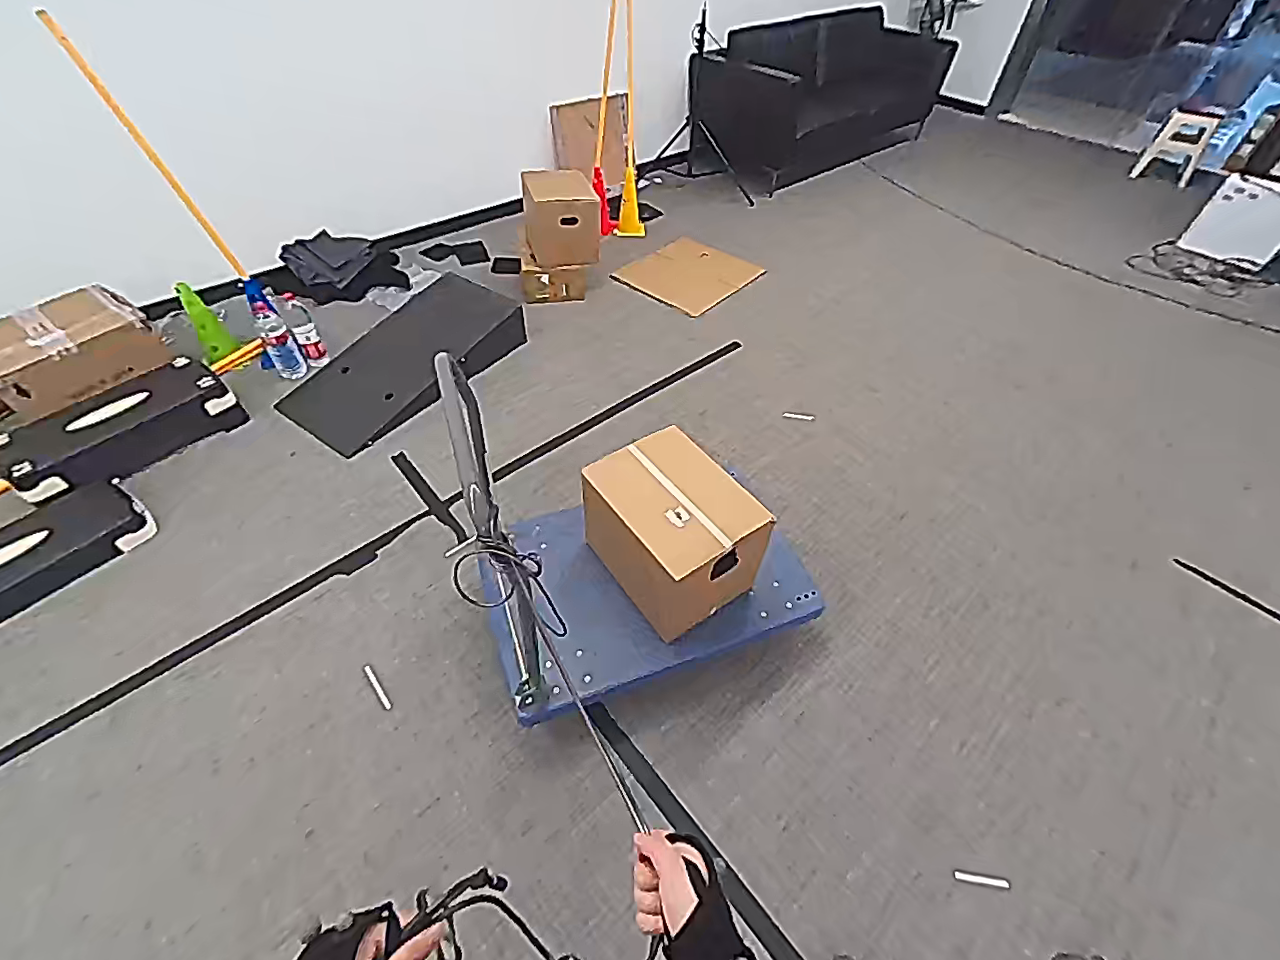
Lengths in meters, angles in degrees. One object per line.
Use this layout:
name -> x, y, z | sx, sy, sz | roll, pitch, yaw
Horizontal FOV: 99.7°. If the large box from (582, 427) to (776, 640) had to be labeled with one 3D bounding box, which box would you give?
large box -> 0.081, 0.135, 1.446 | 0.320, 0.320, 0.408 | -28, 56, -24
